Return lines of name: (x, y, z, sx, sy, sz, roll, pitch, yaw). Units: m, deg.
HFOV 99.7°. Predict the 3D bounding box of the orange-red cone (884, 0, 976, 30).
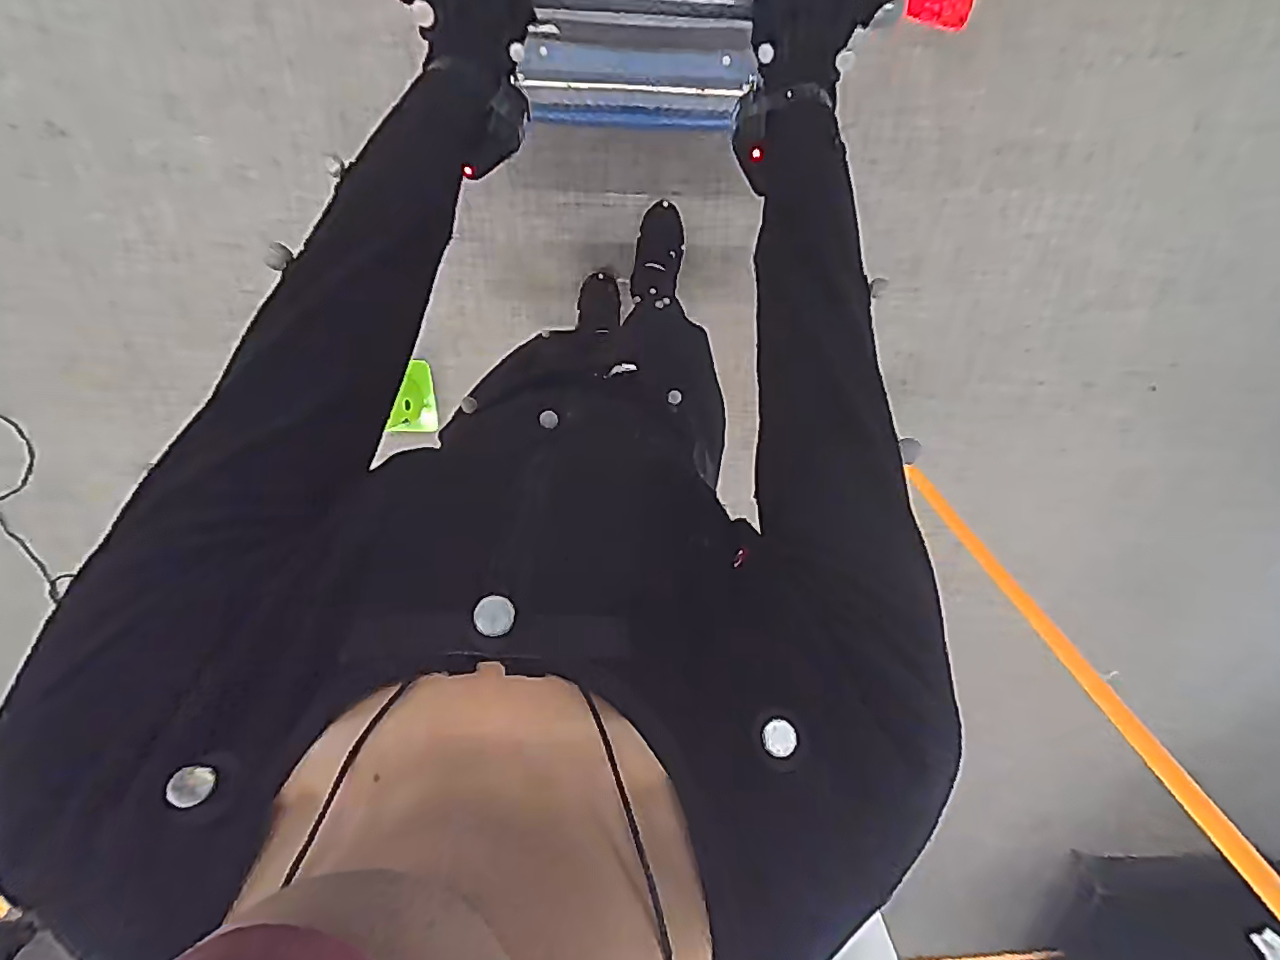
orange-red cone: (0.626, -1.003, 0.964, 0.198, 0.360, 0.199, 11, 114, -6)
